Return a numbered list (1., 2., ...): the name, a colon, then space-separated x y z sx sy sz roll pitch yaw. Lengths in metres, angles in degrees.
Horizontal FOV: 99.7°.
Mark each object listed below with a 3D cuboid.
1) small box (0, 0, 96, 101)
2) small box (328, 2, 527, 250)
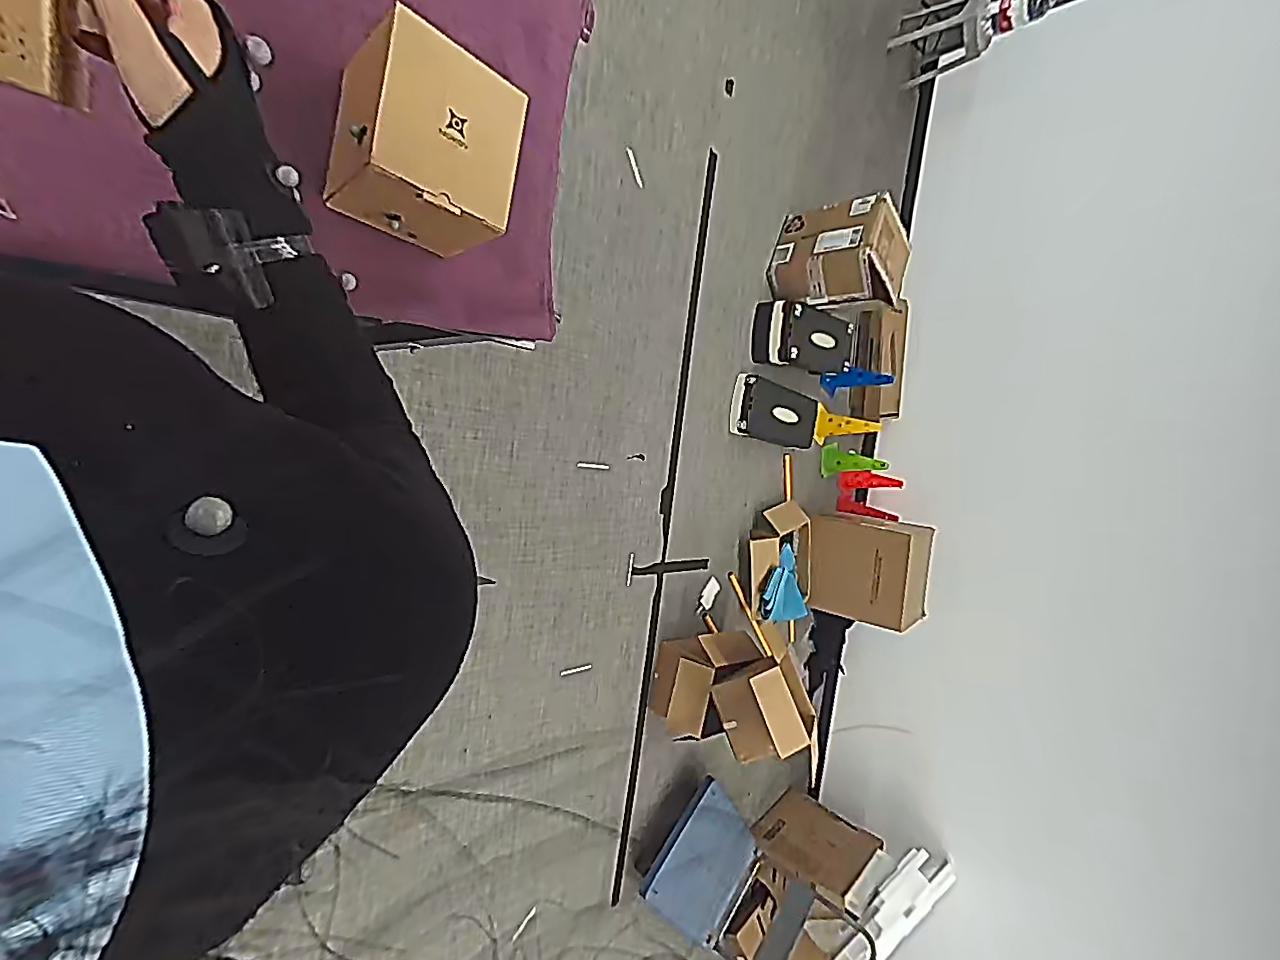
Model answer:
1. small box: -0.381 -0.310 0.255 0.168 0.179 0.176 4 112 -41
2. small box: -0.267 -0.415 0.674 0.168 0.176 0.179 10 90 -46
